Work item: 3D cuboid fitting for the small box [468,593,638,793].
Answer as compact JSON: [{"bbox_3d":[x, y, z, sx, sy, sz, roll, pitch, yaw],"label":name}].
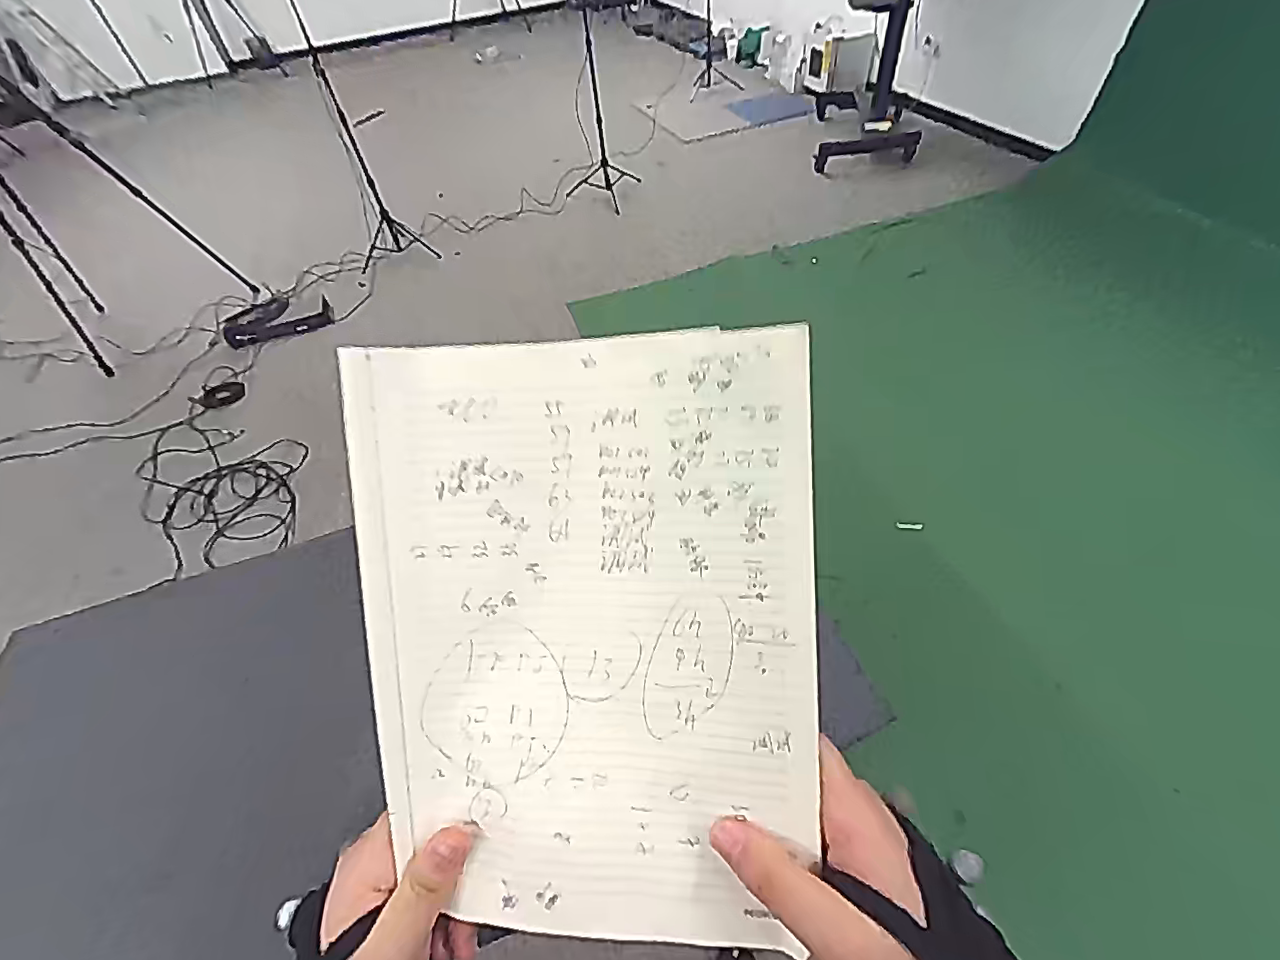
[{"bbox_3d":[-0.096,0.264,0.667,0.168,0.176,0.179,-8,49,1],"label":"small box"}]
